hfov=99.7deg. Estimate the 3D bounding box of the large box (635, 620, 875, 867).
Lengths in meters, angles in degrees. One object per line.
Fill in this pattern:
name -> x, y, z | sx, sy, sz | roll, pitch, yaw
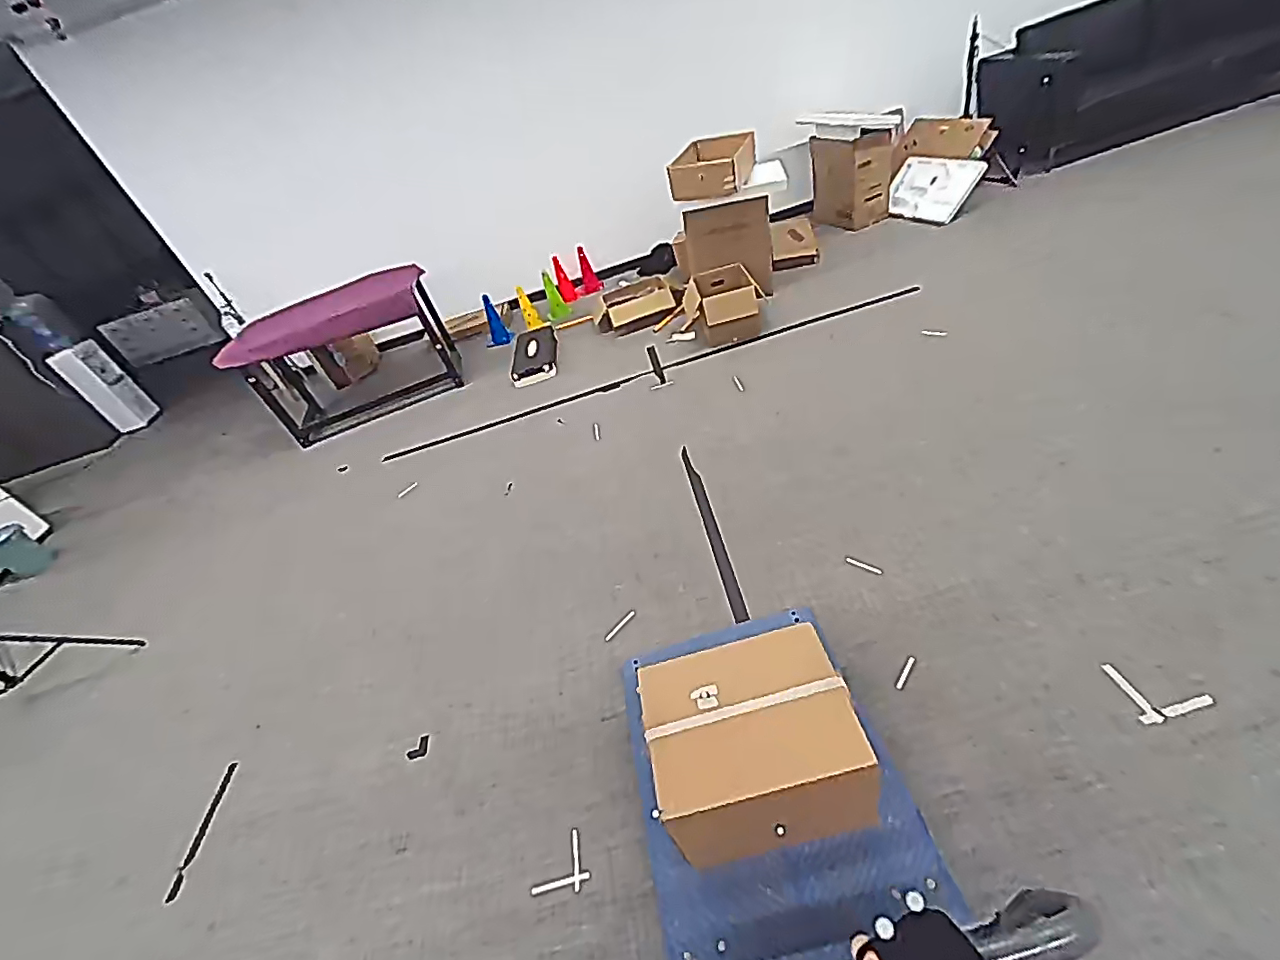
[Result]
large box -> 0.240, 0.566, 1.163 | 0.408, 0.320, 0.320 | -18, 37, 3
